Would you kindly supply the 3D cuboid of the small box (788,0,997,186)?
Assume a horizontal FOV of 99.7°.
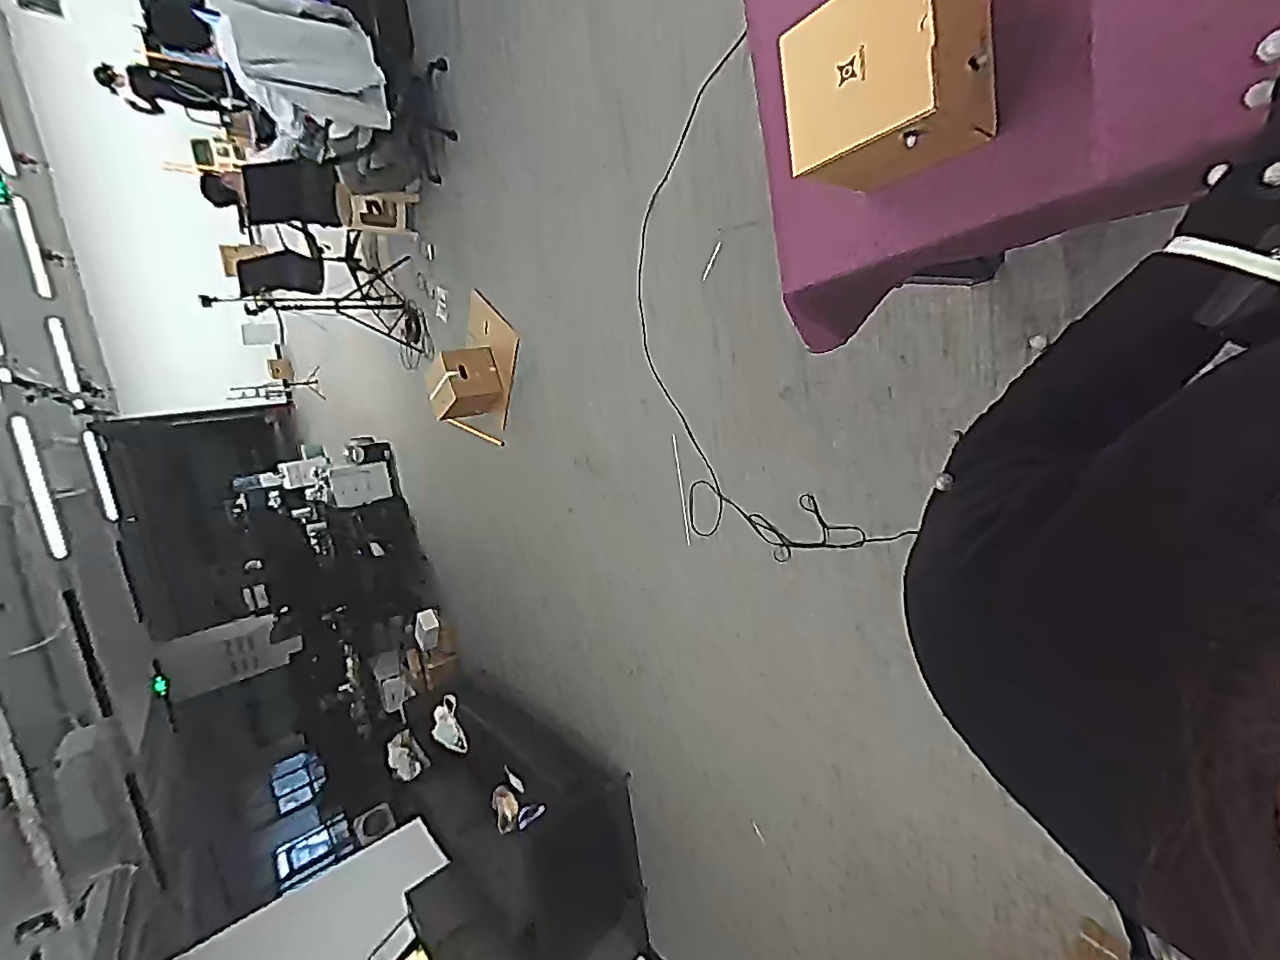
[{"bbox_3d":[0.310,-0.486,0.667,0.179,0.176,0.168,2,103,51],"label":"small box"}]
